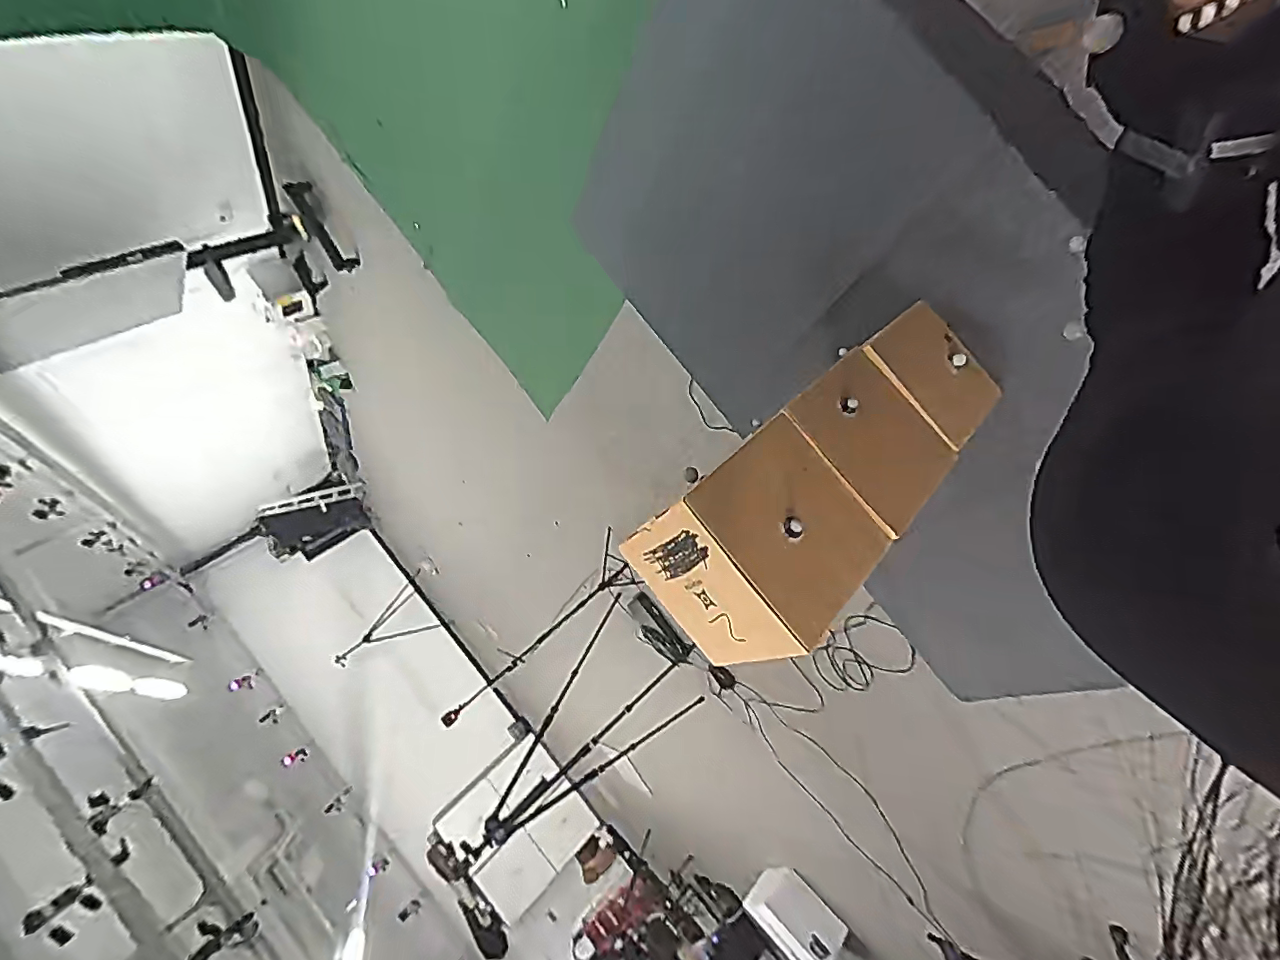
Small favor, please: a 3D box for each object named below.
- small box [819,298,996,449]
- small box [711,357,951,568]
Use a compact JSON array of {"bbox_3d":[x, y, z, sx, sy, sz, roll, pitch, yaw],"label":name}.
[{"bbox_3d":[0.337,-0.113,0.739,0.168,0.176,0.179,52,147,3],"label":"small box"},{"bbox_3d":[0.227,-0.026,0.654,0.179,0.176,0.168,50,148,5],"label":"small box"}]
